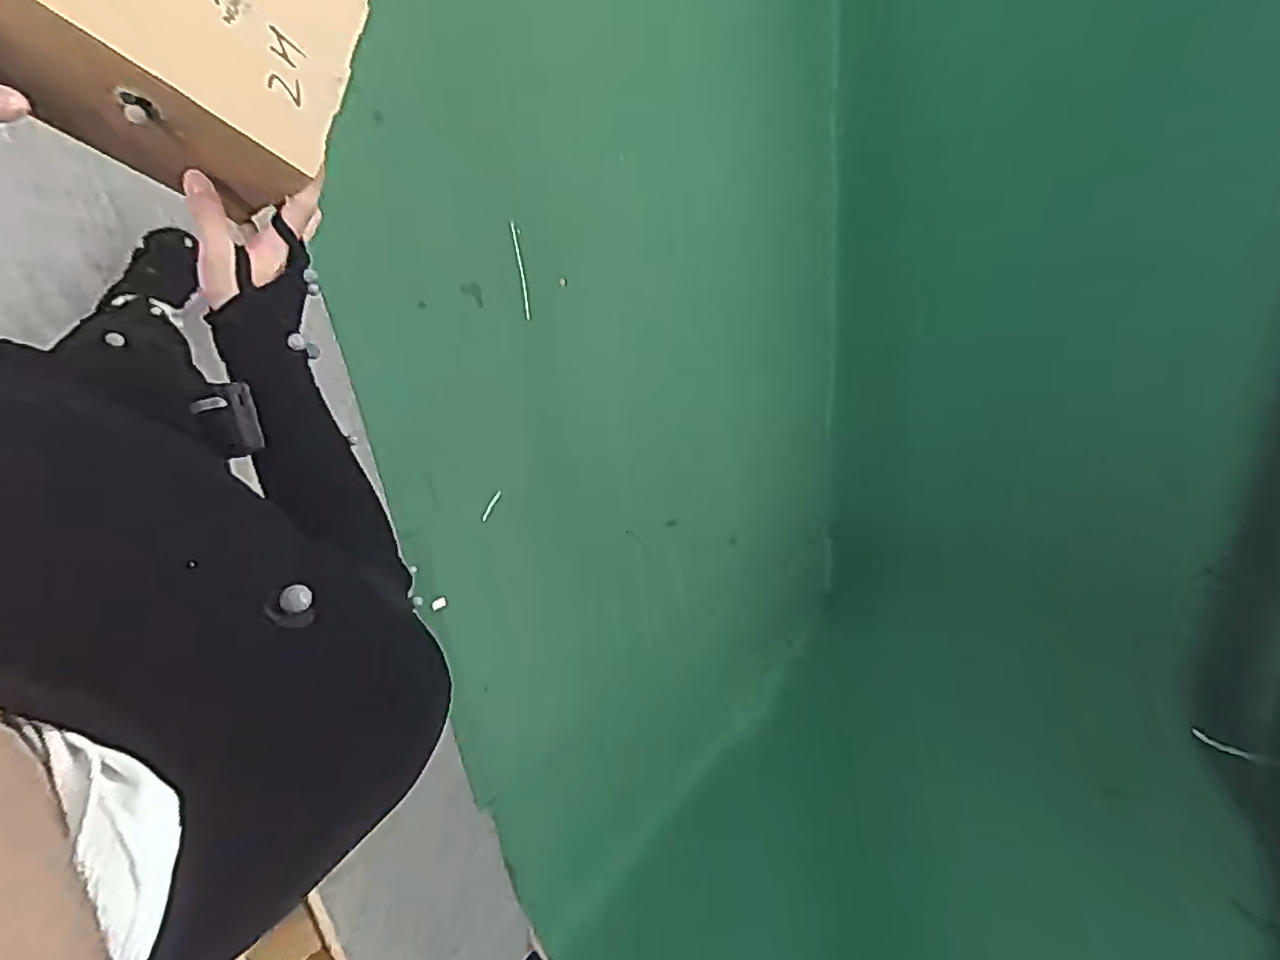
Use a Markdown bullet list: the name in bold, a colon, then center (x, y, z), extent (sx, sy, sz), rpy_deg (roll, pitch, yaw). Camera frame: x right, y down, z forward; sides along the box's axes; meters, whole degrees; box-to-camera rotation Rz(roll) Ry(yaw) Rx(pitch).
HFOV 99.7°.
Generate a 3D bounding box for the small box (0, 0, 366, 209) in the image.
- **small box**: center (-0.348, -0.335, 0.402), extent (0.179, 0.176, 0.168), rpy_deg (22, 76, -52)
